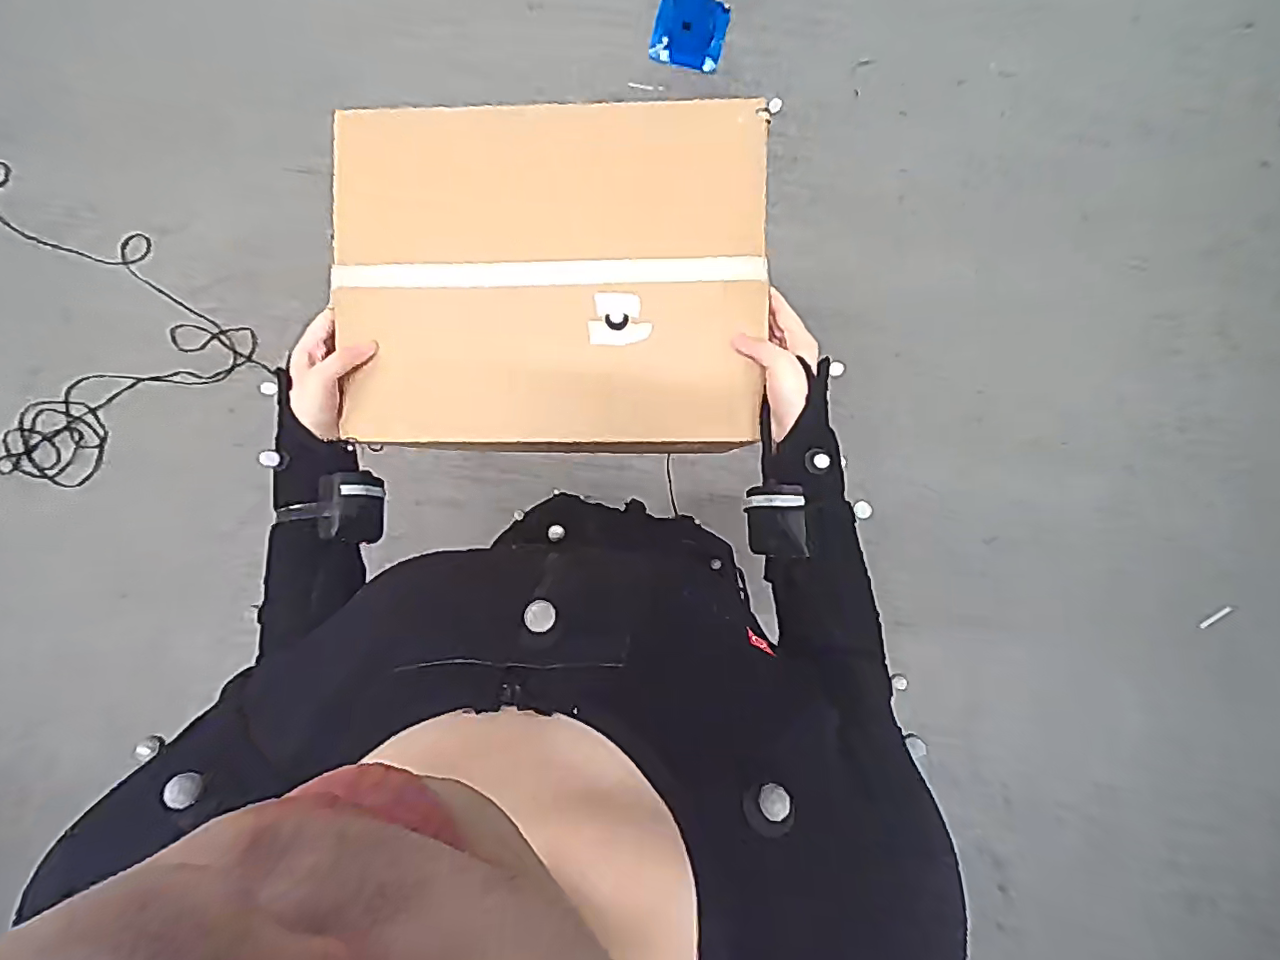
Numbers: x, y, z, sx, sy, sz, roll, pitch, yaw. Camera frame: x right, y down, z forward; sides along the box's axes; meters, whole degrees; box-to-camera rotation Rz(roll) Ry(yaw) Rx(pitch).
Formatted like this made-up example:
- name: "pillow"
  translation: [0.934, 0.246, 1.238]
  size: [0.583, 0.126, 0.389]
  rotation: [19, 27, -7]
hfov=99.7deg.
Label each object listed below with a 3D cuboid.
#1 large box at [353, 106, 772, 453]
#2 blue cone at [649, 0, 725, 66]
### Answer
- name: "large box"
  translation: [-0.074, -0.197, 0.660]
  size: [0.408, 0.320, 0.320]
  rotation: [0, 91, 1]
- name: "blue cone"
  translation: [0.129, -1.268, 1.354]
  size: [0.193, 0.380, 0.192]
  rotation: [16, 89, 1]
